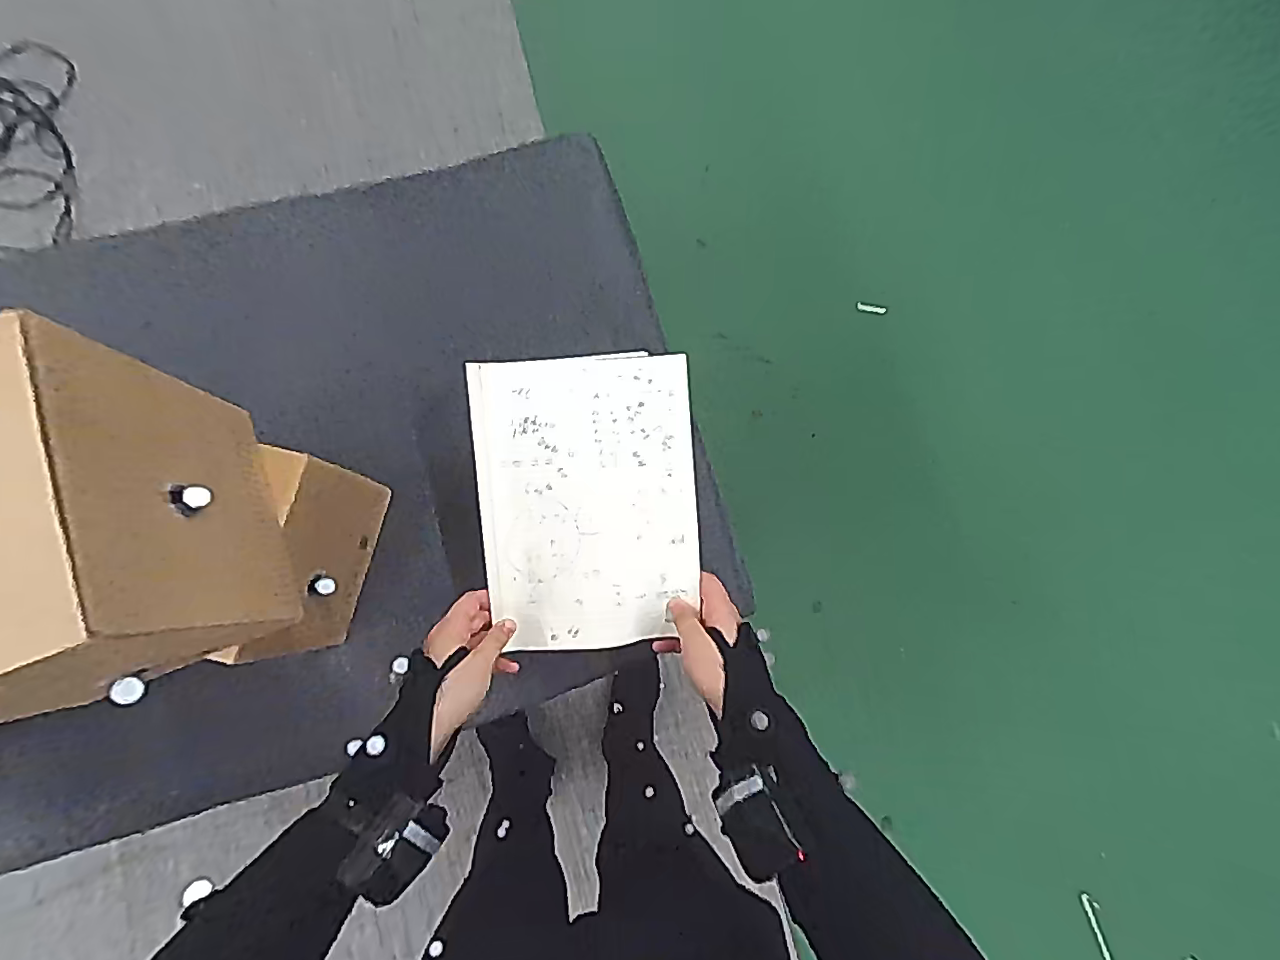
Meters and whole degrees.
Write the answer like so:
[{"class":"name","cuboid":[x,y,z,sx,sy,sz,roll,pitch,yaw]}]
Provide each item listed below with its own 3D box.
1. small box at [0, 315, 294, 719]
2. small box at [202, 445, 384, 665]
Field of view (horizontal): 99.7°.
[{"class":"small box","cuboid":[-0.353,0.038,0.325,0.168,0.176,0.179,-21,81,-5]},{"class":"small box","cuboid":[-0.365,0.054,0.489,0.179,0.176,0.168,13,79,1]}]
